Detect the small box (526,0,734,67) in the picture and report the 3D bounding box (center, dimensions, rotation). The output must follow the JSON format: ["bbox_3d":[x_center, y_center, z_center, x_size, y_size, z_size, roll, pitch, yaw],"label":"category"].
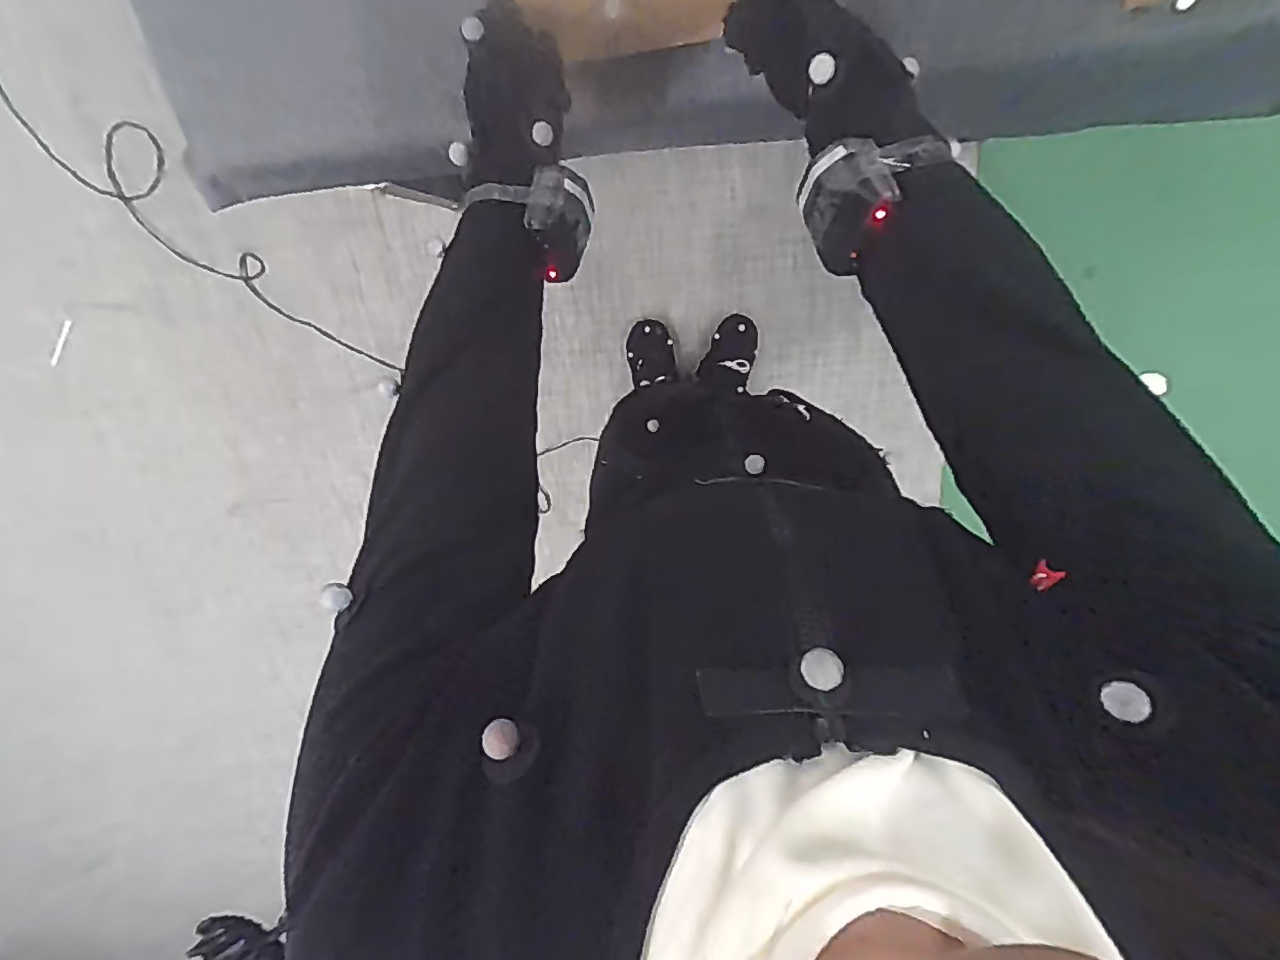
[{"bbox_3d":[-0.015,-0.454,0.411,0.179,0.176,0.168,-7,106,5],"label":"small box"}]
